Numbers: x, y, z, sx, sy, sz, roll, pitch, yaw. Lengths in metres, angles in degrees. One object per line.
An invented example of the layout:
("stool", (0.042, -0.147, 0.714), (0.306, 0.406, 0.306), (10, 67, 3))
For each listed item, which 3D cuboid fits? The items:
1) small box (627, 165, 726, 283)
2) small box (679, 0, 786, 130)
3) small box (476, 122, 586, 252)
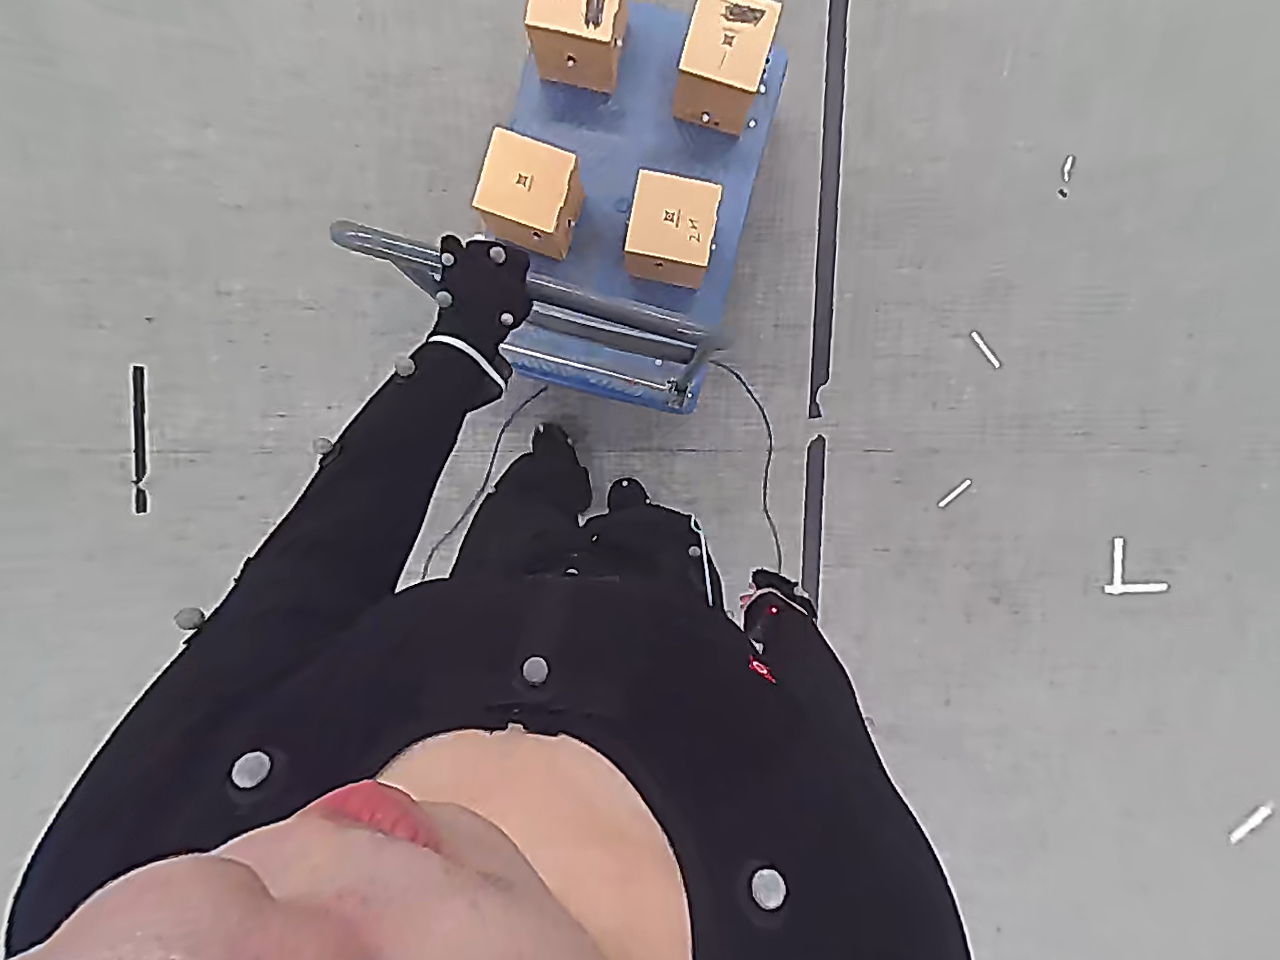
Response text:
("small box", (0.074, -0.544, 1.172), (0.179, 0.176, 0.168), (11, 95, -1))
("small box", (0.185, -0.891, 1.141), (0.168, 0.176, 0.179), (17, 96, -1))
("small box", (-0.226, -0.618, 1.165), (0.179, 0.176, 0.168), (18, 95, -3))
